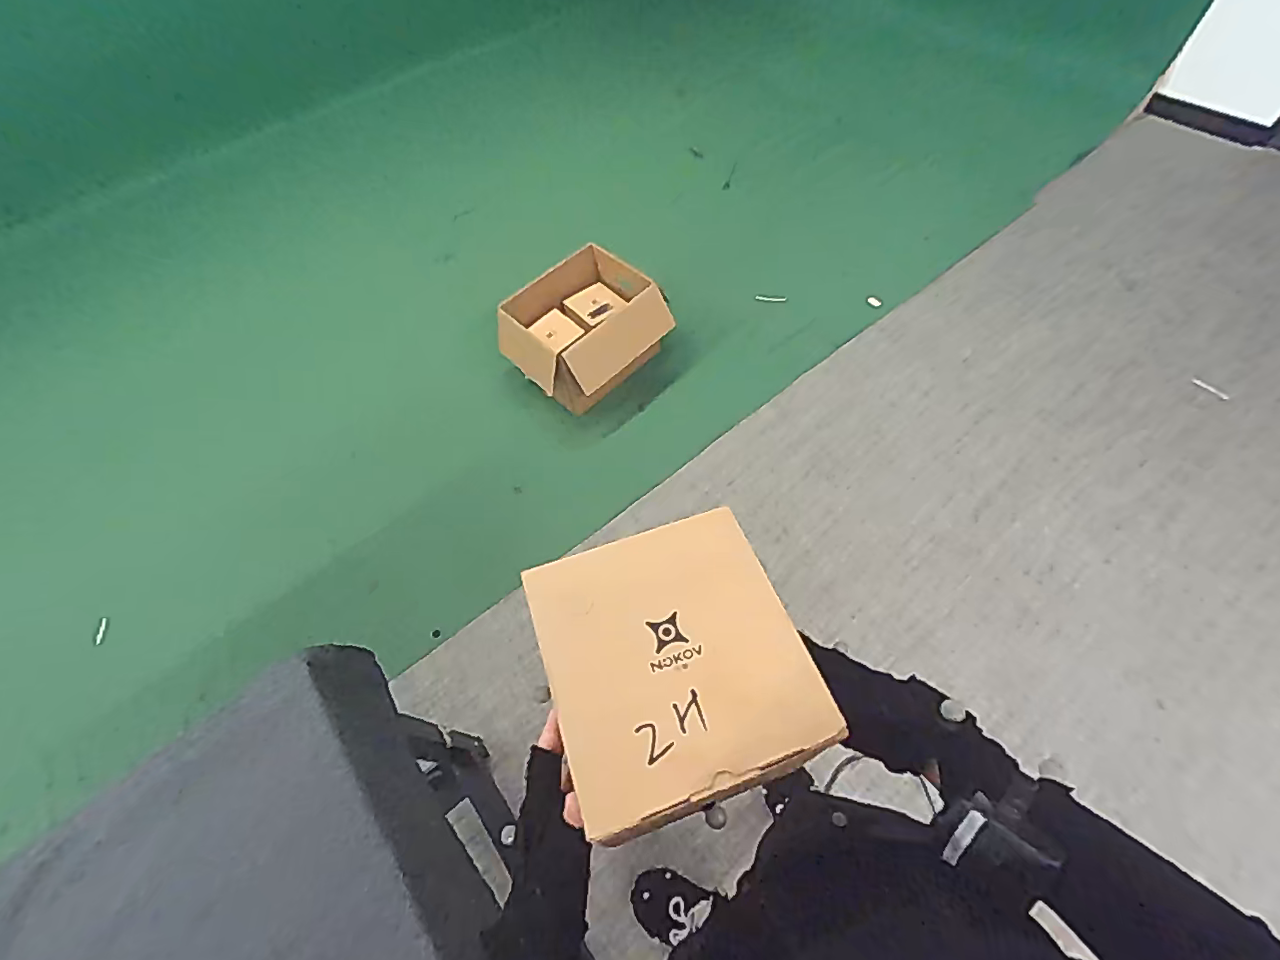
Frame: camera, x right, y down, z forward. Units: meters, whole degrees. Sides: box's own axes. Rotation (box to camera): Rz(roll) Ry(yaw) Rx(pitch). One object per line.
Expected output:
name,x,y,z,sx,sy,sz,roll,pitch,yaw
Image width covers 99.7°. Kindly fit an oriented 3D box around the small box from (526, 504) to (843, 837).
small box,0.021,0.151,0.421,0.168,0.176,0.179,-17,56,-9
